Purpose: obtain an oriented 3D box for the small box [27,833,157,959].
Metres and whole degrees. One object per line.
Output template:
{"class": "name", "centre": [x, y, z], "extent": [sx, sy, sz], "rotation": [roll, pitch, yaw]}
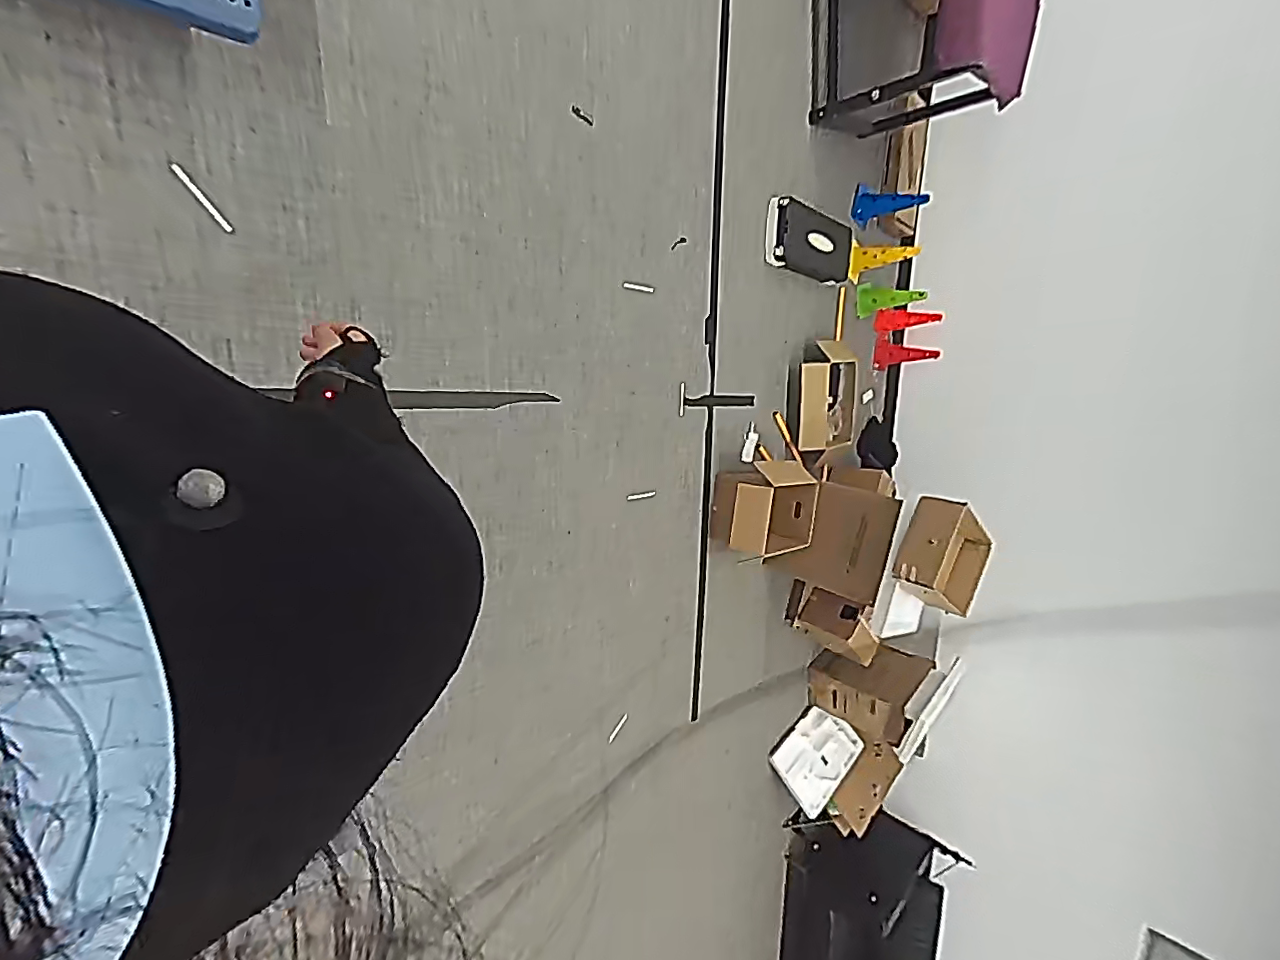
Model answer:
{"class": "small box", "centre": [-1.134, 0.896, 1.128], "extent": [0.168, 0.176, 0.179], "rotation": [-11, 106, -44]}
